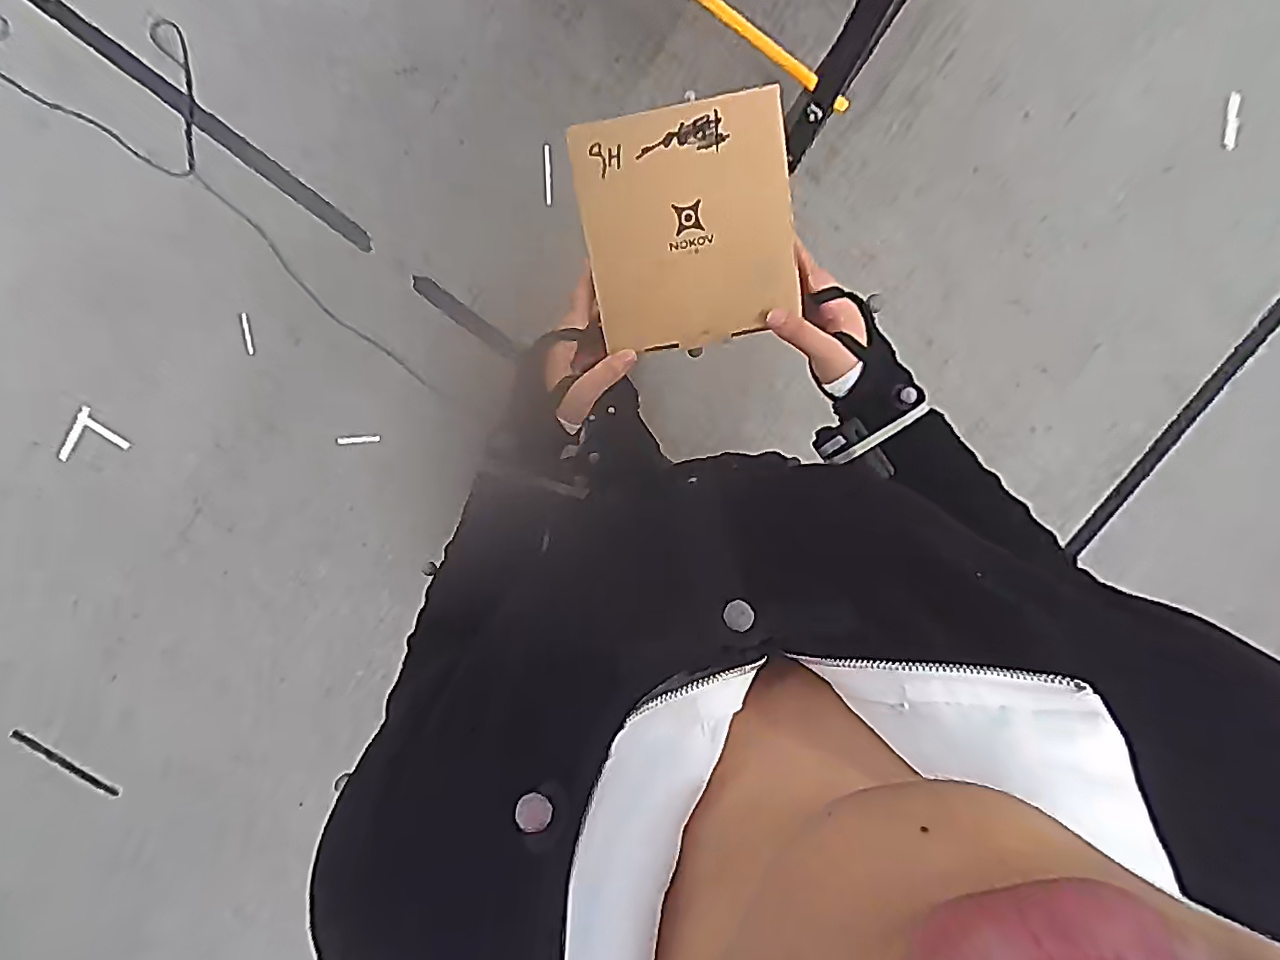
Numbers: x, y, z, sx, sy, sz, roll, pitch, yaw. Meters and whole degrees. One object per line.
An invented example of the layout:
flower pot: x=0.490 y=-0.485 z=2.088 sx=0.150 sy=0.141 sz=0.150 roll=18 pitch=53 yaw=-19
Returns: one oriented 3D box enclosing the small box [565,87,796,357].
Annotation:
small box: x=0.037 y=-0.222 z=0.506 sx=0.168 sy=0.176 sz=0.179 roll=-10 pitch=107 yaw=2
